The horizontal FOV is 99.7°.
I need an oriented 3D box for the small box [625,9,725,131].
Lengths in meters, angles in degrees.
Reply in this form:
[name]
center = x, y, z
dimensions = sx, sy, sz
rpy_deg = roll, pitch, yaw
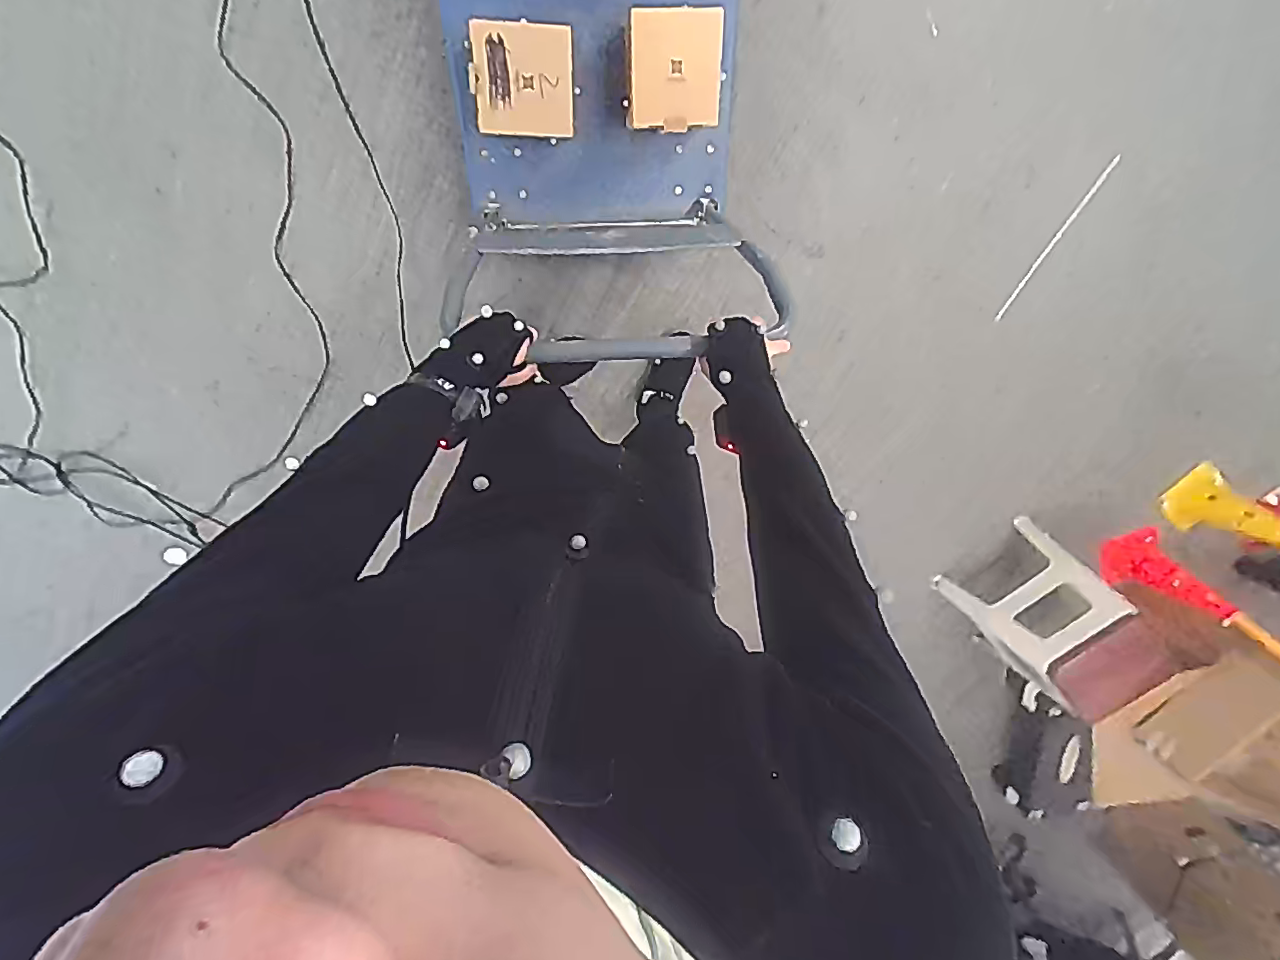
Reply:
[small box]
center = 0.060, -0.780, 1.043
dimensions = 0.168, 0.176, 0.179
rpy_deg = -4, 124, -4
